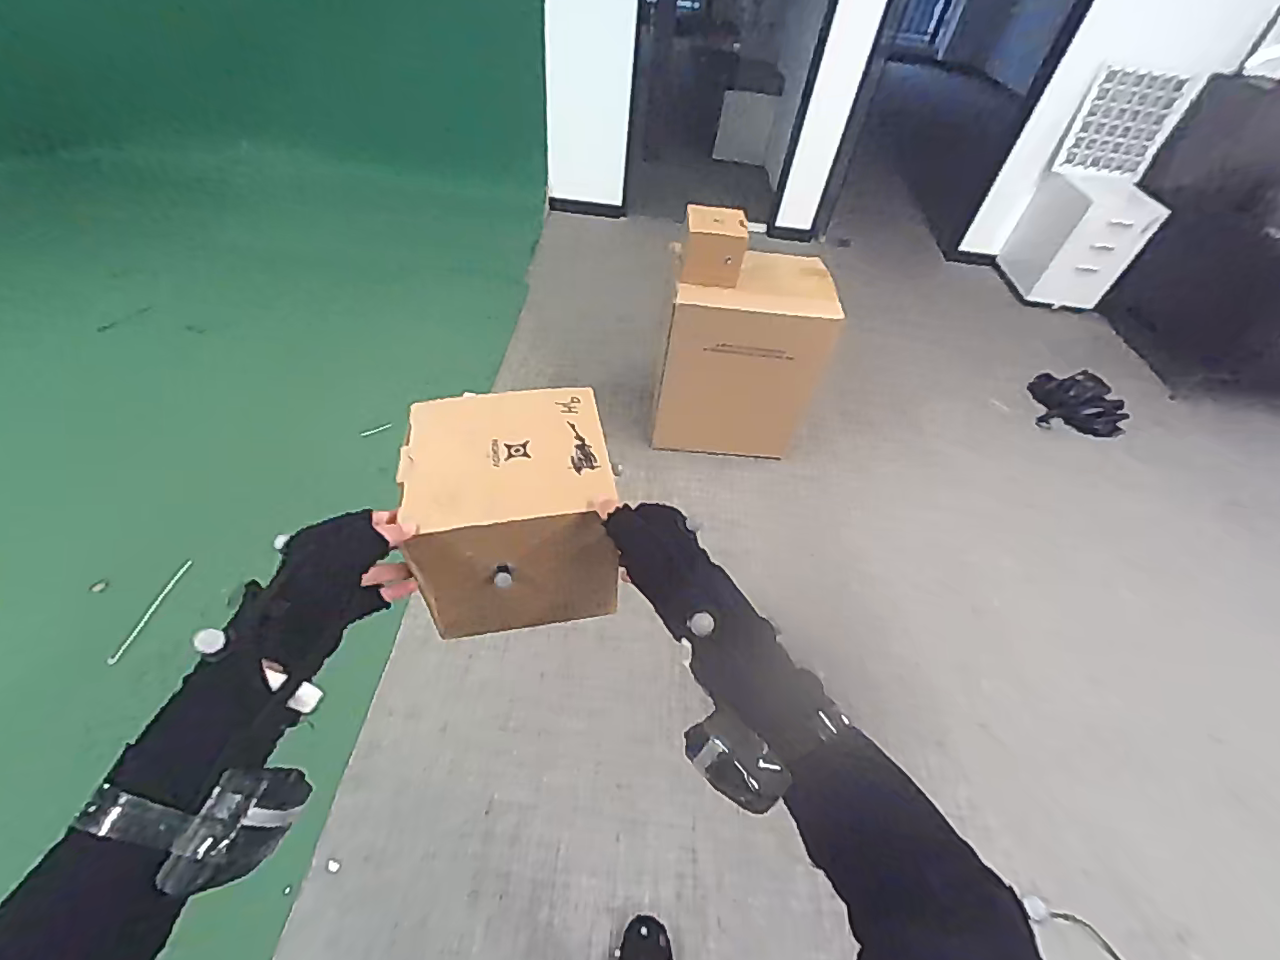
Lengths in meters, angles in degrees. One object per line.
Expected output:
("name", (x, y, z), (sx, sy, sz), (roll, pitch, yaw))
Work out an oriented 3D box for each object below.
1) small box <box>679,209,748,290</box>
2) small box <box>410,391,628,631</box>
("small box", (0.221, -0.712, 1.678), (0.179, 0.176, 0.168), (3, 51, -4))
("small box", (-0.109, 0.033, 0.541), (0.179, 0.176, 0.168), (-7, 46, -9))
